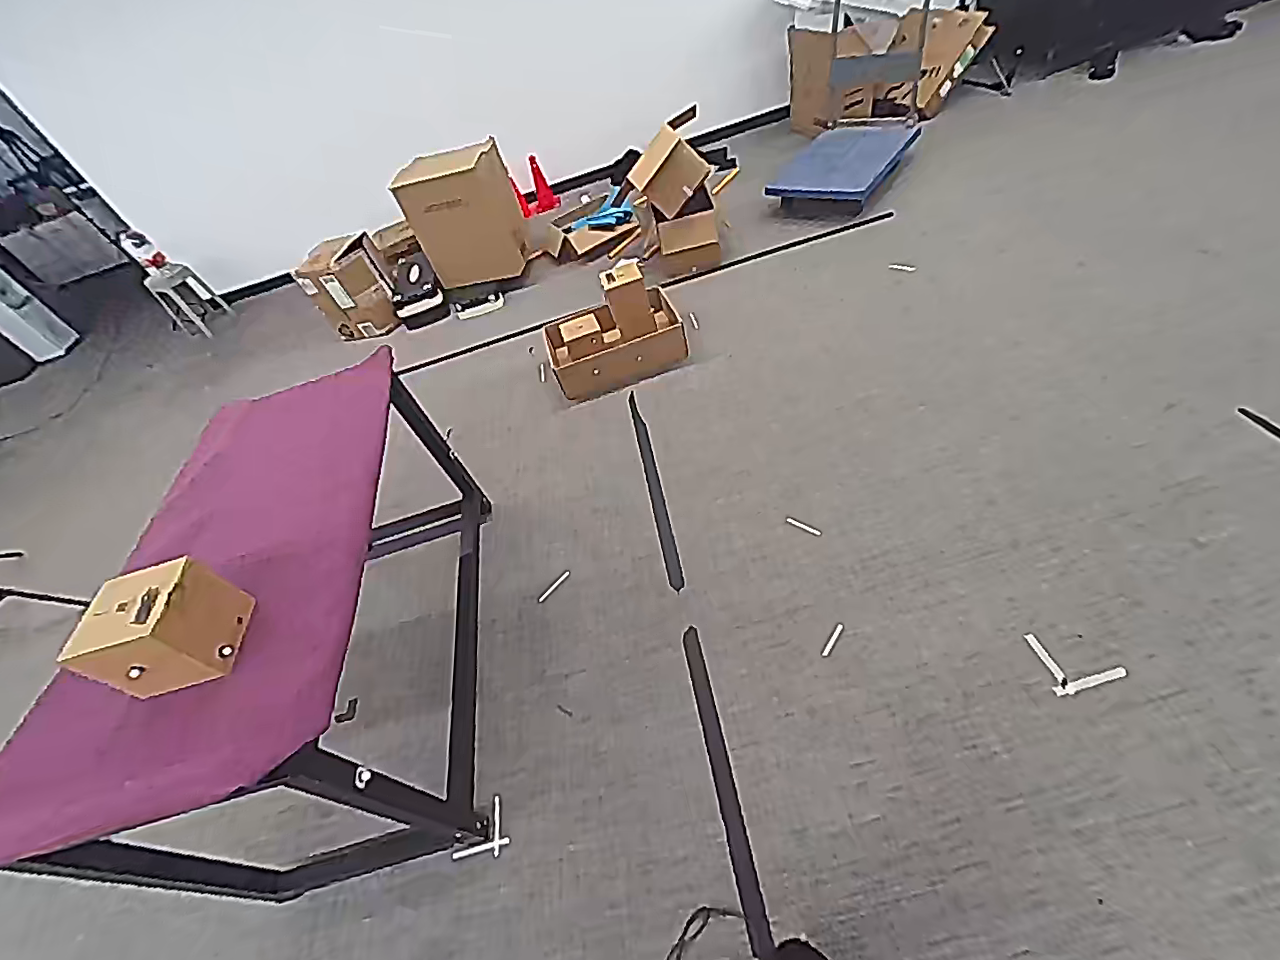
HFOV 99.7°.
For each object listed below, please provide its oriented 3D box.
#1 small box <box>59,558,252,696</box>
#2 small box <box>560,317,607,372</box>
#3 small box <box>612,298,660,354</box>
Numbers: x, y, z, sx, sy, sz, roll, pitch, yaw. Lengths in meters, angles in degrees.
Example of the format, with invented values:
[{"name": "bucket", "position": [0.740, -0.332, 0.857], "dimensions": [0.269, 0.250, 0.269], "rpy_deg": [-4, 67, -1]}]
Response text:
[{"name": "small box", "position": [-0.874, 0.275, 1.001], "dimensions": [0.179, 0.176, 0.168], "rpy_deg": [-17, 46, 3]}, {"name": "small box", "position": [-0.263, -0.641, 2.565], "dimensions": [0.179, 0.176, 0.168], "rpy_deg": [-20, 45, -2]}, {"name": "small box", "position": [-0.018, -0.728, 2.567], "dimensions": [0.168, 0.176, 0.179], "rpy_deg": [-21, 46, 1]}]
